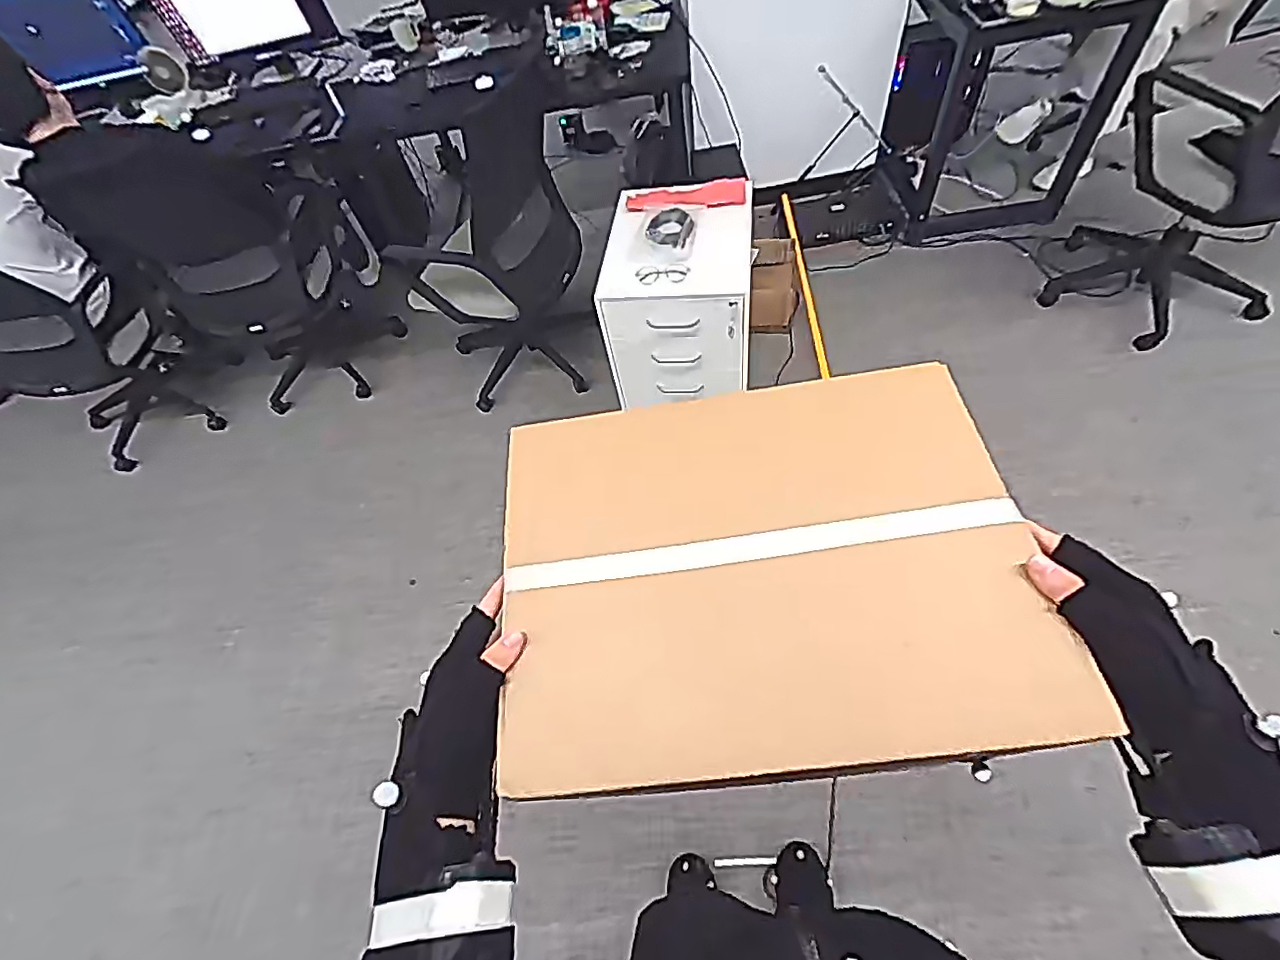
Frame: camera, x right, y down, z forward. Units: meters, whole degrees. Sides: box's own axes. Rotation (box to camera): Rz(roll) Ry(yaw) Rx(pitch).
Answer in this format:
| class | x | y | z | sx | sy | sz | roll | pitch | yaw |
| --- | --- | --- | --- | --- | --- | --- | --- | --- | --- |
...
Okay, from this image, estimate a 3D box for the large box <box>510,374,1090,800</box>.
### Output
| class | x | y | z | sx | sy | sz | roll | pitch | yaw |
| --- | --- | --- | --- | --- | --- | --- | --- | --- | --- |
| large box | 0.111 | 0.134 | 0.570 | 0.408 | 0.320 | 0.320 | -9 | 59 | 5 |
